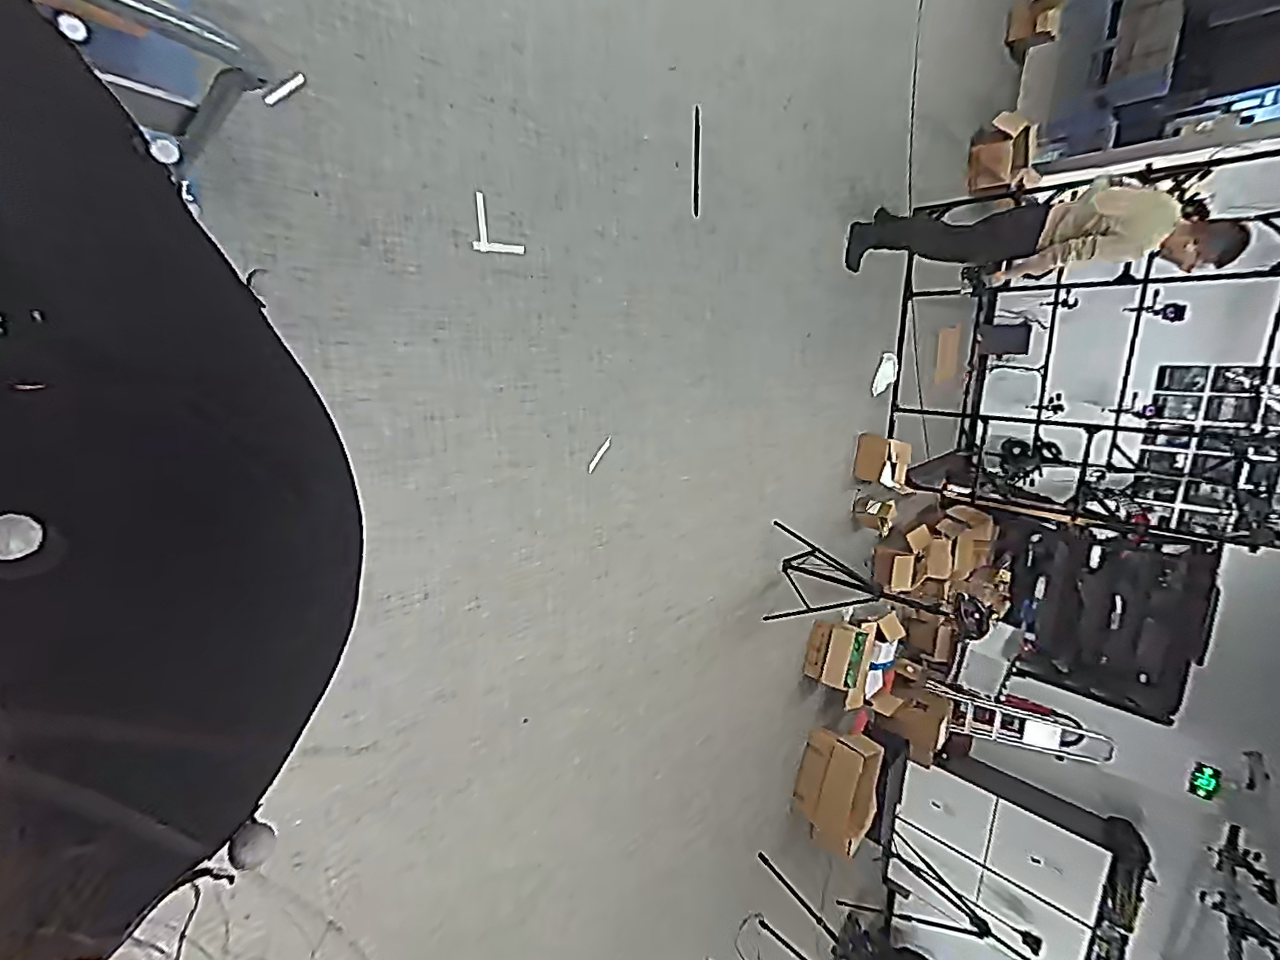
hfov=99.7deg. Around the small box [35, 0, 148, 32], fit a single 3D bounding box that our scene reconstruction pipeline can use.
[{"bbox_3d":[-0.830,-0.794,0.773,0.179,0.176,0.168,-9,106,-46],"label":"small box"}]
